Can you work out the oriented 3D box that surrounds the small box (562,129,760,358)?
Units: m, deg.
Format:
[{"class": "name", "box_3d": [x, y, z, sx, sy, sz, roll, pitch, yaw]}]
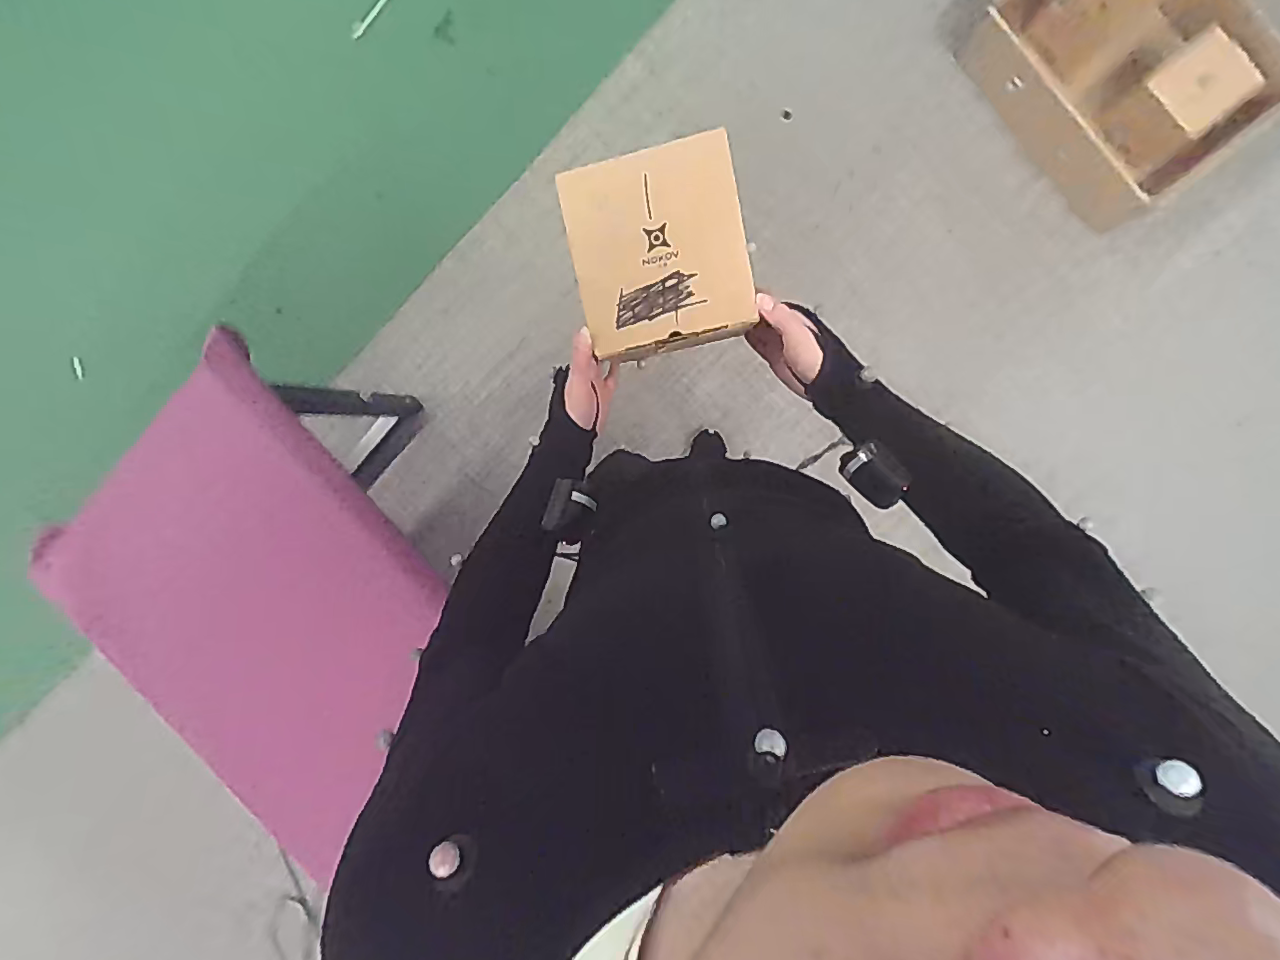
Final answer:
[{"class": "small box", "box_3d": [0.030, -0.233, 0.587, 0.168, 0.176, 0.179, -11, 98, 8]}]

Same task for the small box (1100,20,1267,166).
[{"class": "small box", "box_3d": [1.240, -0.882, 1.251, 0.179, 0.176, 0.168, -39, 88, 10]}]
